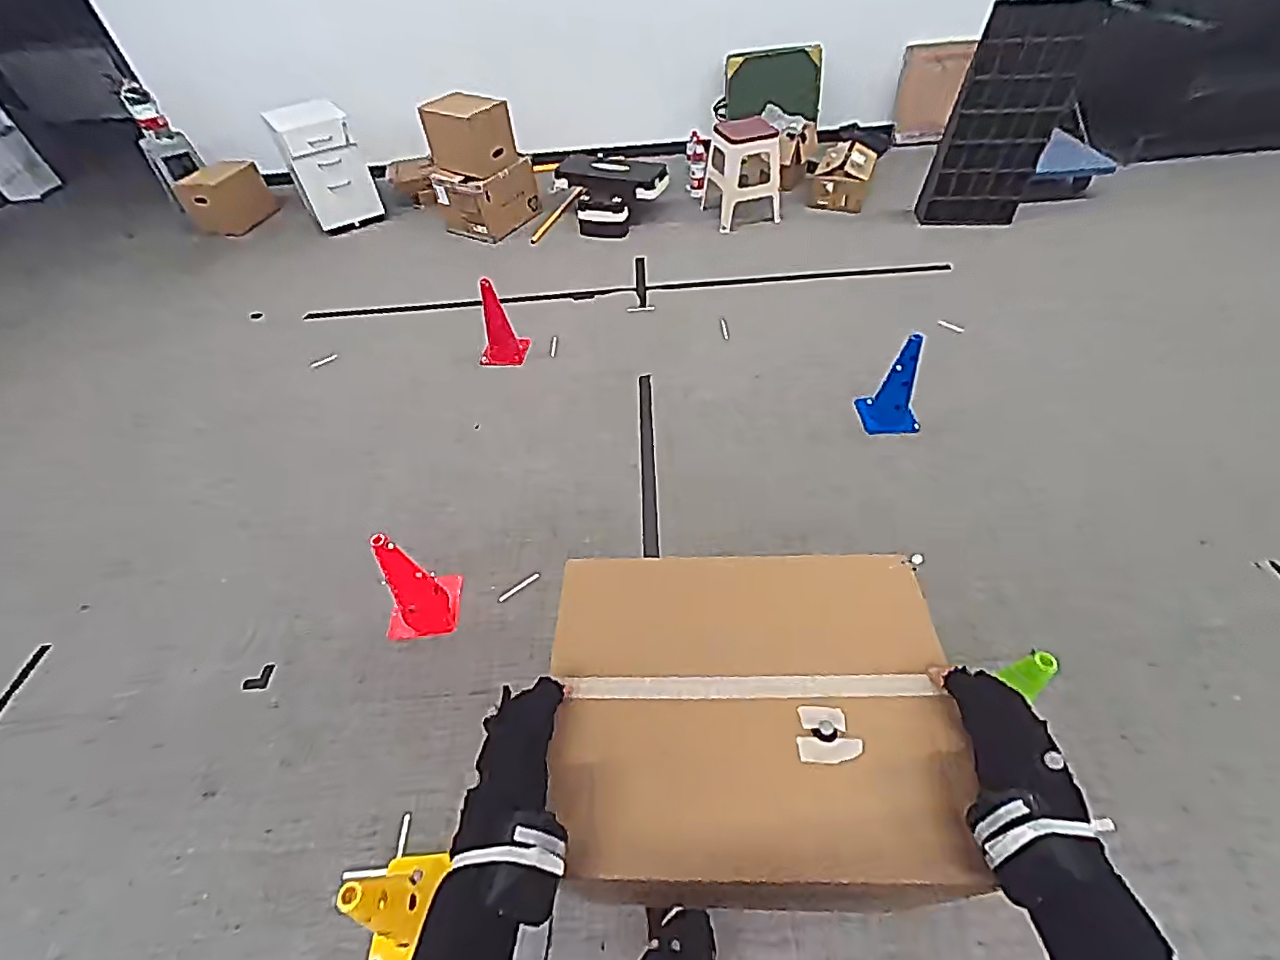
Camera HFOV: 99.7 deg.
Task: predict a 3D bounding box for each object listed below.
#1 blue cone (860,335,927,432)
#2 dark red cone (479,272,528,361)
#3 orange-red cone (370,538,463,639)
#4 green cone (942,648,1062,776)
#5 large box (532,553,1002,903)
[{"bbox_3d":[0.951,-0.359,1.967,0.192,0.380,0.193,-1,49,3],"label":"blue cone"},{"bbox_3d":[-0.632,-0.715,2.361,0.201,0.394,0.202,1,49,4],"label":"dark red cone"},{"bbox_3d":[-0.661,0.277,1.521,0.198,0.360,0.199,-6,50,1],"label":"orange-red cone"},{"bbox_3d":[0.833,0.479,1.215,0.202,0.368,0.200,-32,54,-24],"label":"green cone"},{"bbox_3d":[0.111,0.307,0.661,0.408,0.320,0.320,-2,48,3],"label":"large box"}]
